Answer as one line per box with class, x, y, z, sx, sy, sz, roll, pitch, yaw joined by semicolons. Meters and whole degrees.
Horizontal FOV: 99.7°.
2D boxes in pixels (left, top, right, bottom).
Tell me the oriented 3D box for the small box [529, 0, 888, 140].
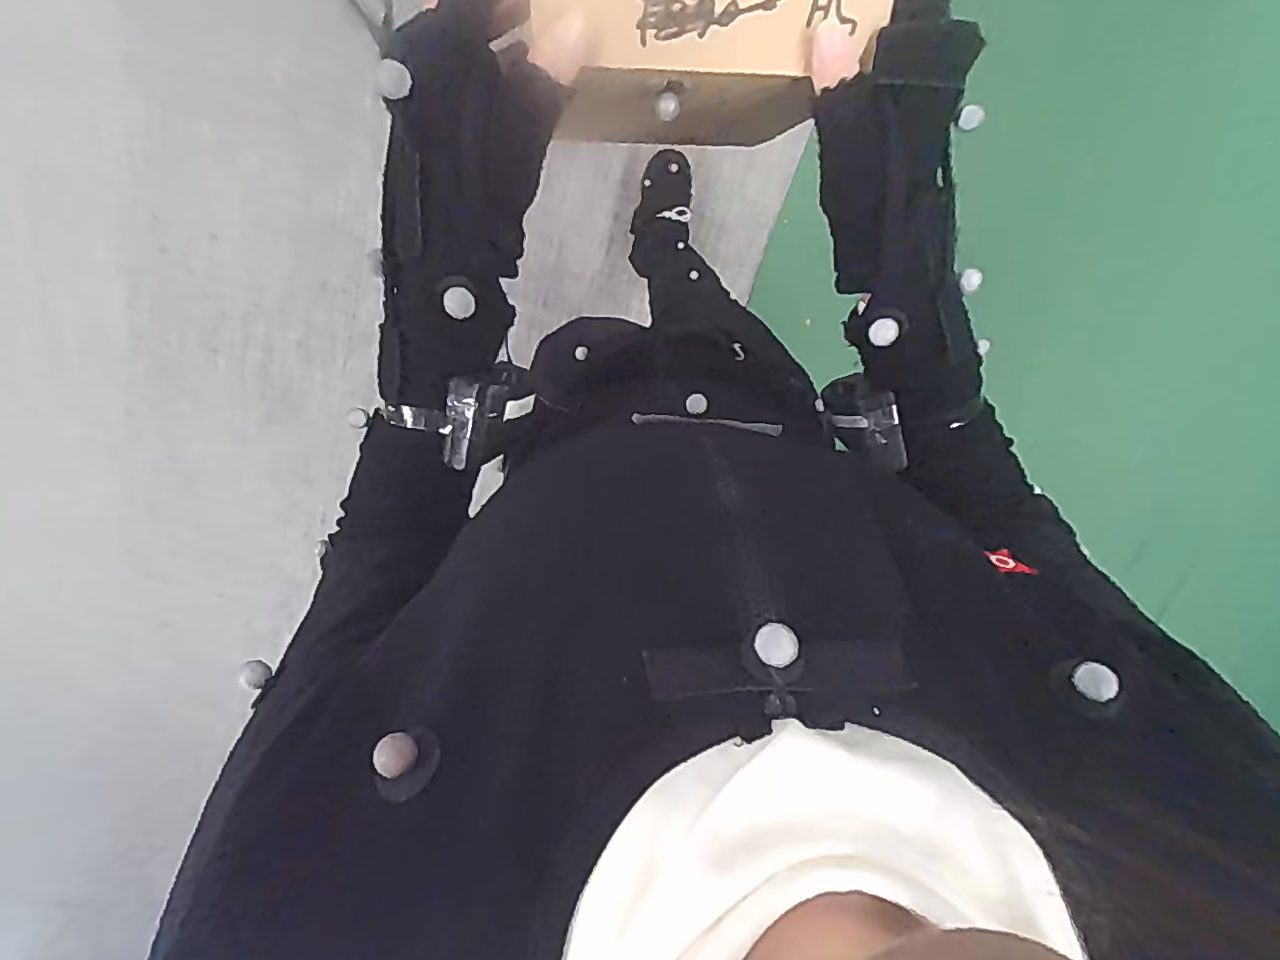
small box;0.022;-0.305;0.289;0.168;0.176;0.179;-3;112;-7
